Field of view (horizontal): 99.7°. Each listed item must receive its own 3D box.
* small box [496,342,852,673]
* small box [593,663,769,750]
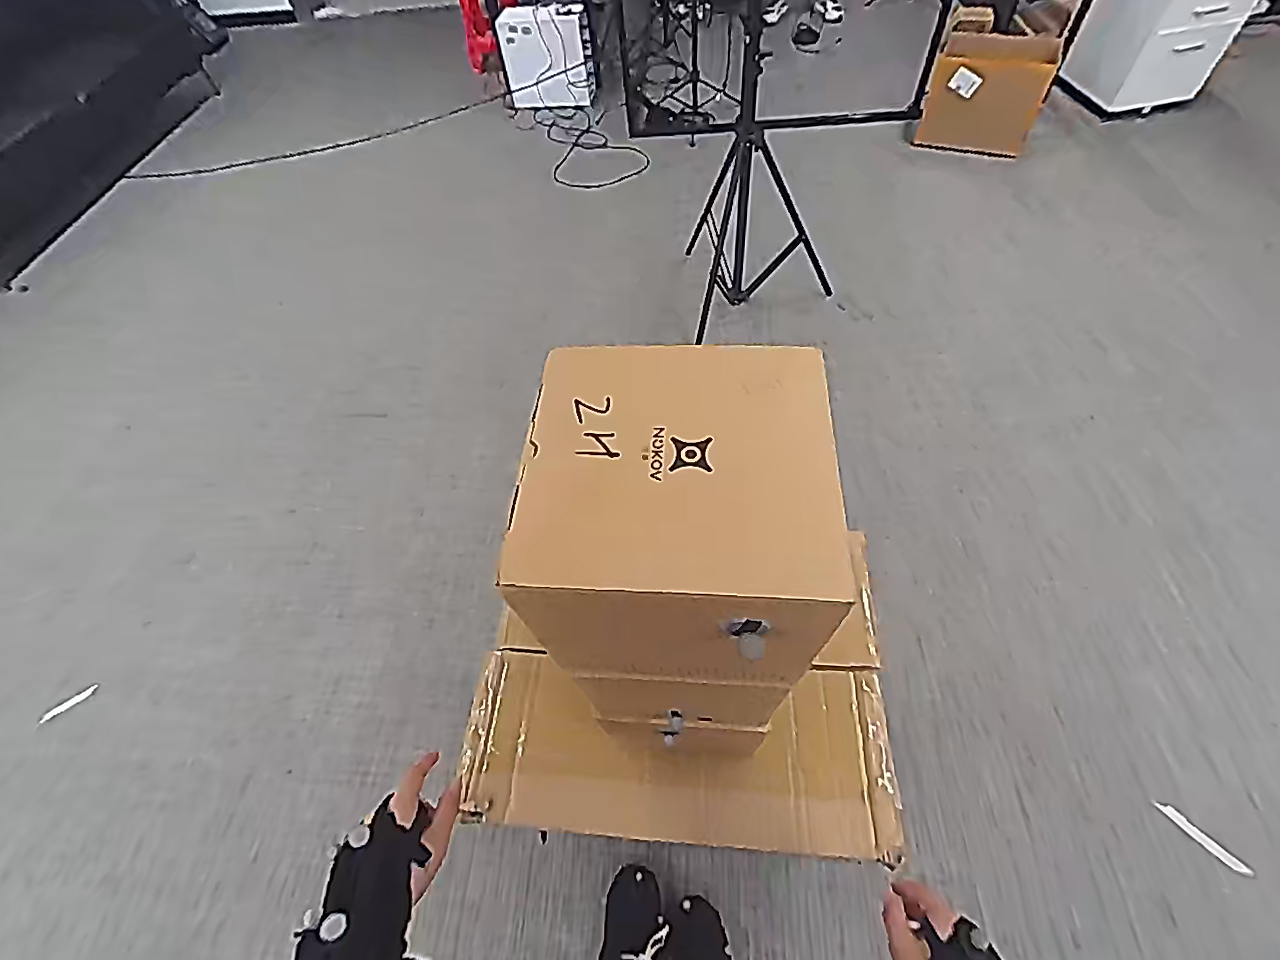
[{"bbox_3d":[0.026,0.026,0.369,0.179,0.176,0.168,1,57,7],"label":"small box"},{"bbox_3d":[0.053,0.214,0.639,0.179,0.176,0.168,1,57,6],"label":"small box"}]
